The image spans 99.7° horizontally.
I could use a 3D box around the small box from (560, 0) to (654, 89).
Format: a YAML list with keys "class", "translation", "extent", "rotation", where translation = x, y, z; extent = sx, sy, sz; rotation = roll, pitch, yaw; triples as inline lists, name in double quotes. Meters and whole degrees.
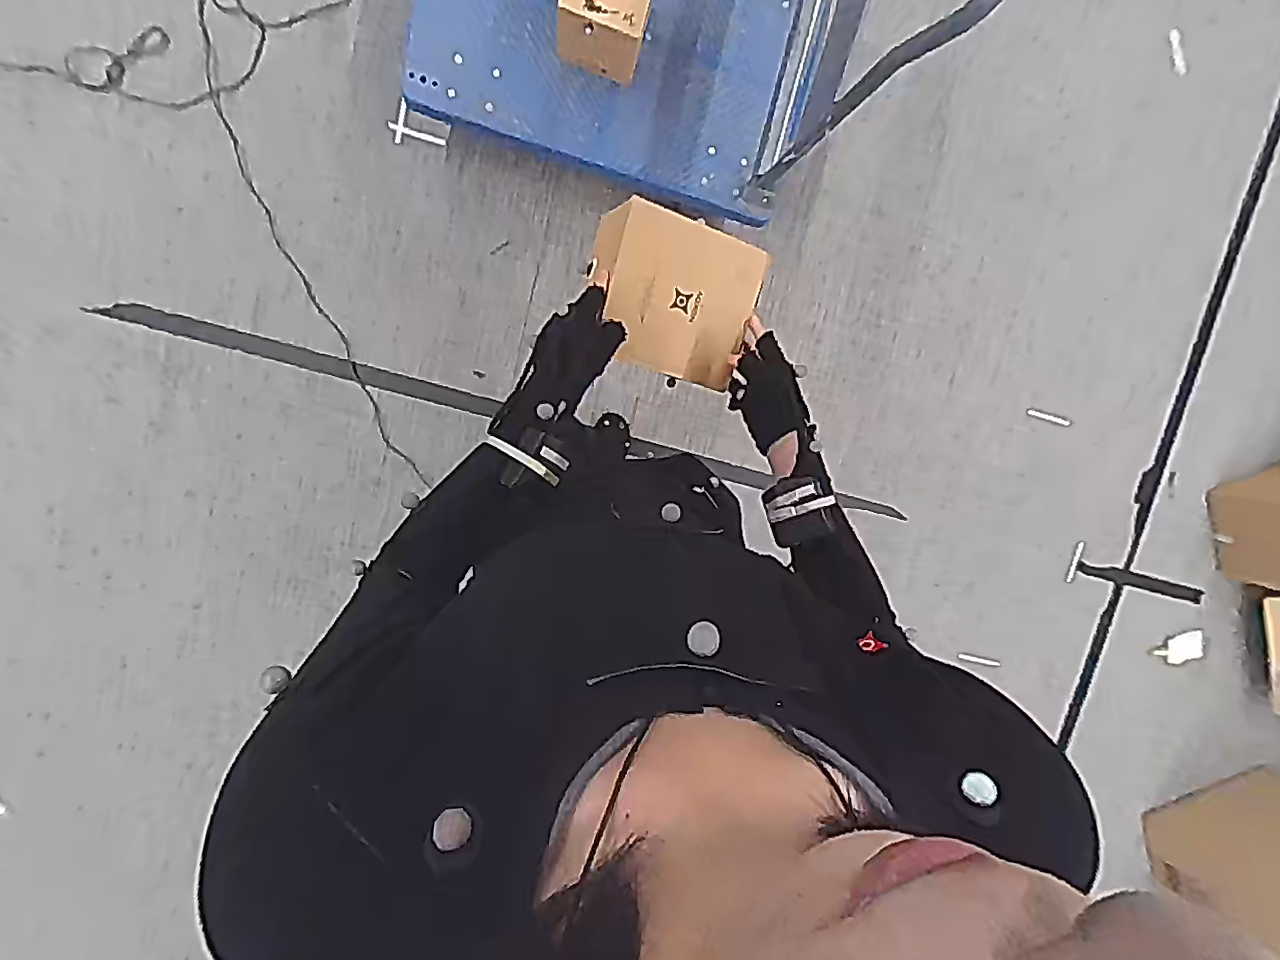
- class: "small box"
  translation: [-0.065, -0.963, 1.107]
  extent: [0.168, 0.176, 0.179]
  rotation: [15, 95, -10]

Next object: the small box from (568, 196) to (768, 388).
- class: "small box"
  translation: [0.023, -0.225, 0.675]
  extent: [0.179, 0.176, 0.168]
  rotation: [12, 102, -20]
